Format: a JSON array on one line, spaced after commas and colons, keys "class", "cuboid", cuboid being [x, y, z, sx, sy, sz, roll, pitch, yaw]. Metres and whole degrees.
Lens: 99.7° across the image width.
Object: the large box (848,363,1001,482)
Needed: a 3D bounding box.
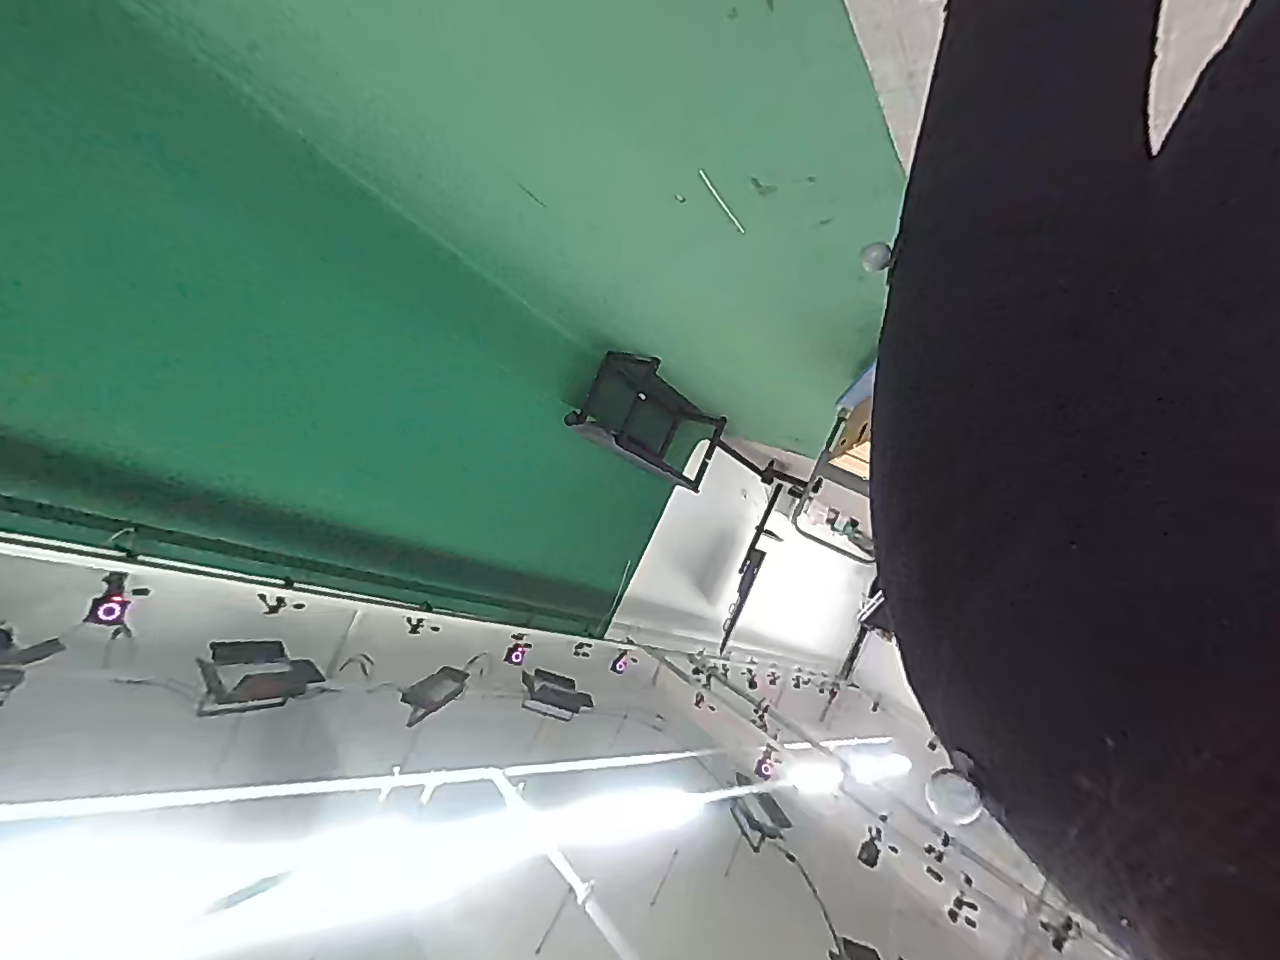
[{"class": "large box", "cuboid": [1.128, -0.224, 2.183, 0.408, 0.320, 0.320, 24, 178, 8]}]
